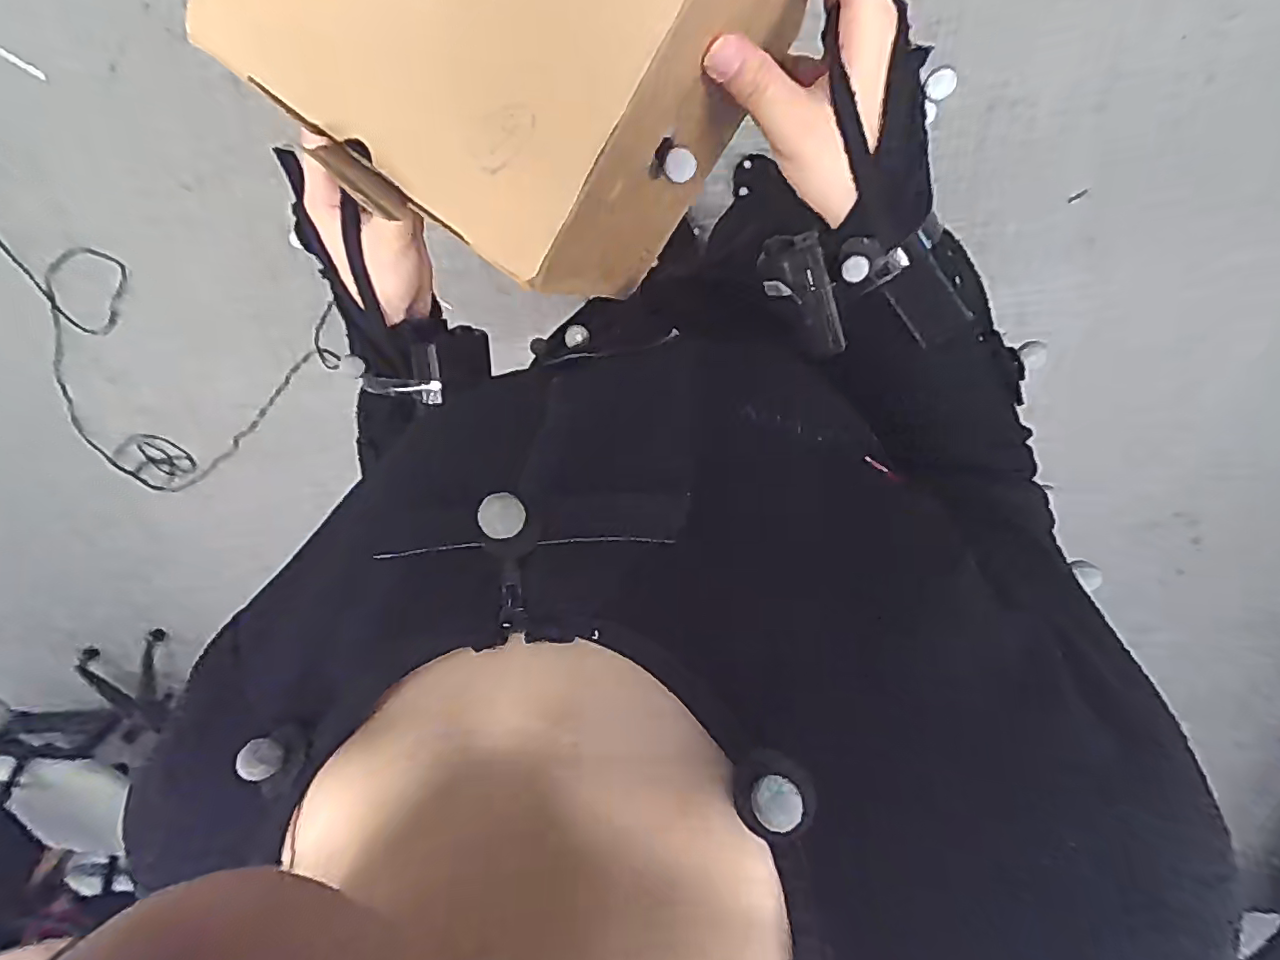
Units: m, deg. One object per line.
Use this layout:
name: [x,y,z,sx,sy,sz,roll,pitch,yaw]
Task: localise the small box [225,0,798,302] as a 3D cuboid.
small box: [-0.037,-0.206,0.258,0.168,0.176,0.179,36,112,-1]
